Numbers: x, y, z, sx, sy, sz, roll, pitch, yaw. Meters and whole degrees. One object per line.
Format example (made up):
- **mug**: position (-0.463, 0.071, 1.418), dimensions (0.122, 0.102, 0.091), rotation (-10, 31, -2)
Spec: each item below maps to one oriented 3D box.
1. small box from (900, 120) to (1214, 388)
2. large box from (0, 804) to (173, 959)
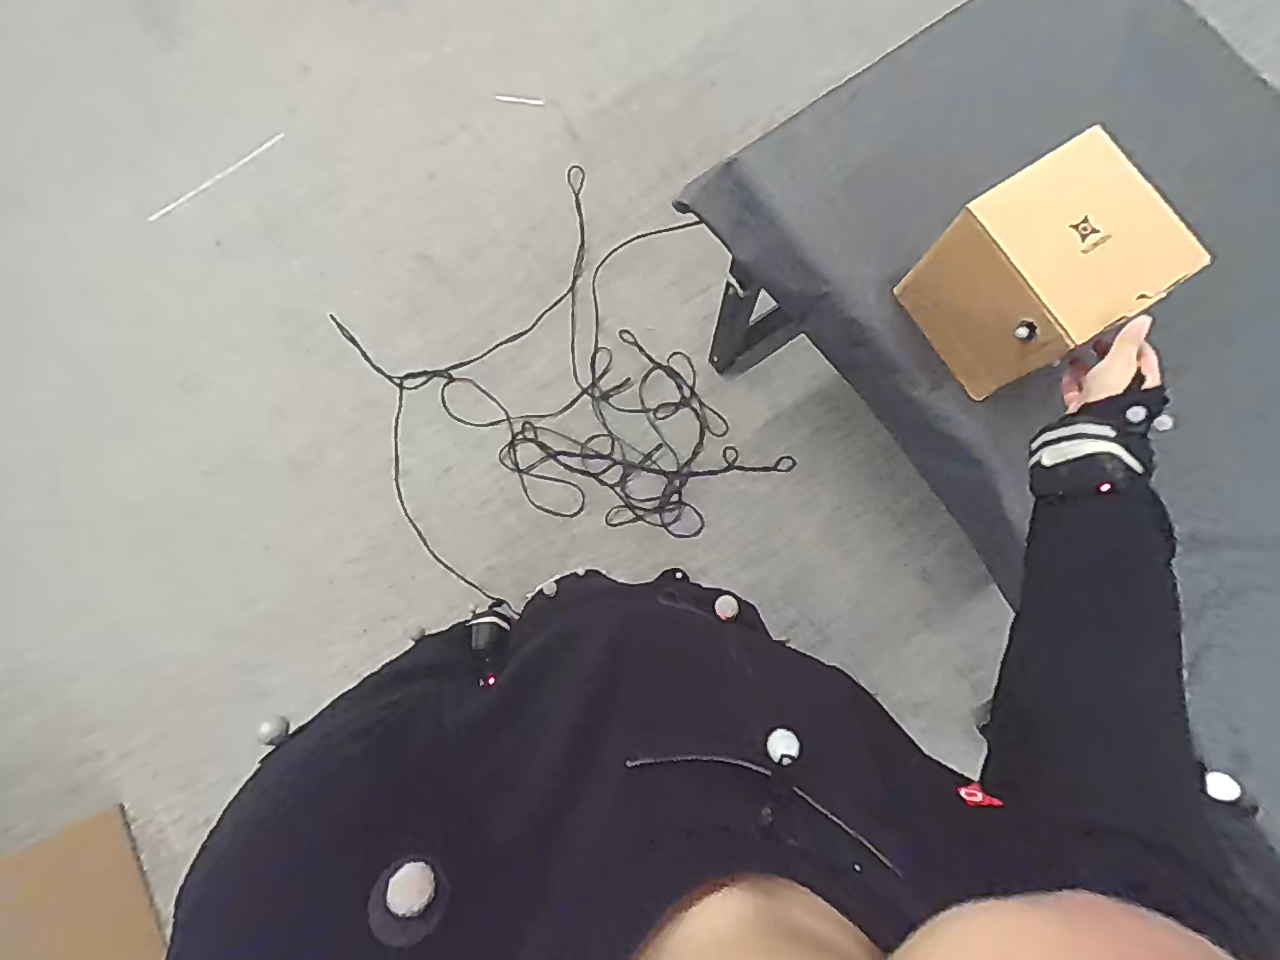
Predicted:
- **small box**: position (0.428, -0.230, 0.593), dimensions (0.168, 0.176, 0.179), rotation (-32, 82, -4)
- **large box**: position (-1.328, 1.016, 1.159), dimensions (0.320, 0.320, 0.408), rotation (-27, 80, -2)
